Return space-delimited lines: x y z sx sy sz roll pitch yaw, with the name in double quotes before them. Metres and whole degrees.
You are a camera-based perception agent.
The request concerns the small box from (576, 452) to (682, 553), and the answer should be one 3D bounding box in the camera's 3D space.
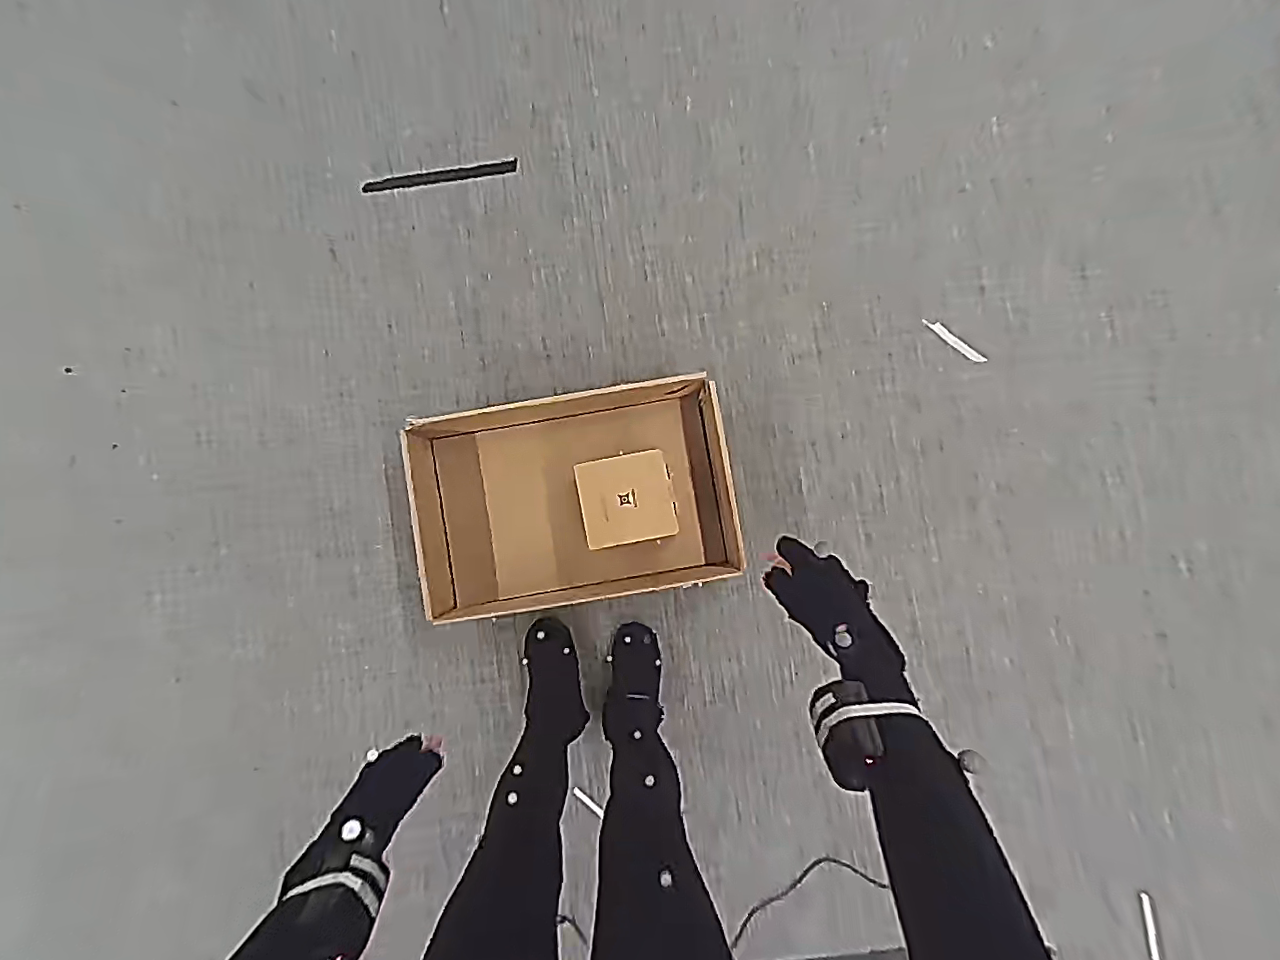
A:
"small box" -0.021 0.047 1.089 0.179 0.176 0.168 -12 85 1
